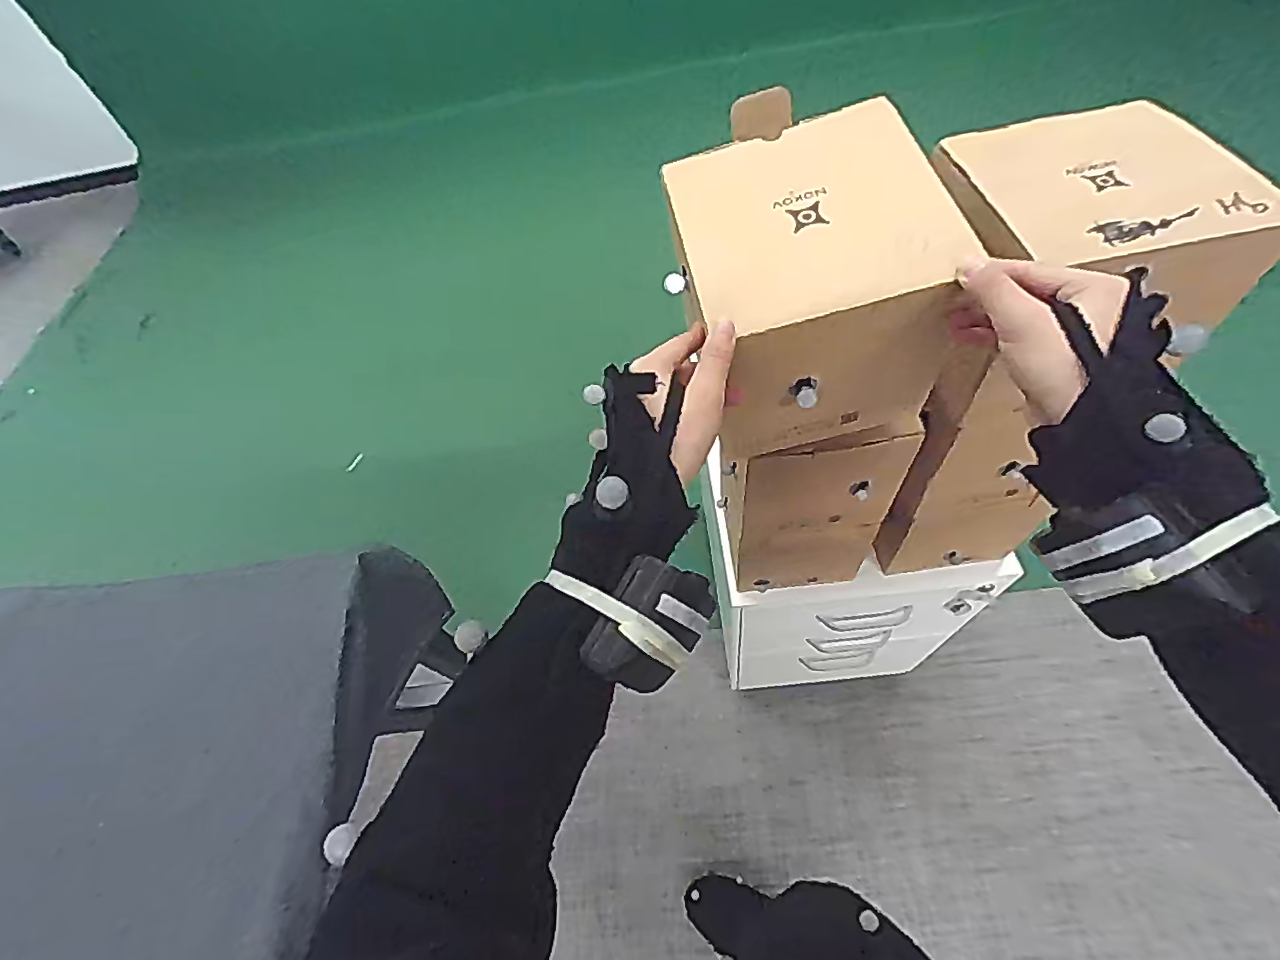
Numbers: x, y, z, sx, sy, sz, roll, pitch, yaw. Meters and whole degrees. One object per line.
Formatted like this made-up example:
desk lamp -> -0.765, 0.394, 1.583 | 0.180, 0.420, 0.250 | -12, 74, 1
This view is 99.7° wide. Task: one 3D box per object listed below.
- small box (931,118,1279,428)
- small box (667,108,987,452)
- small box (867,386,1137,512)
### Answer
small box -> 0.343, -0.169, 0.459 | 0.168, 0.176, 0.179 | -8, 55, 4
small box -> 0.127, -0.137, 0.426 | 0.168, 0.176, 0.179 | -13, 63, 6
small box -> 0.364, -0.078, 0.595 | 0.168, 0.176, 0.179 | -10, 56, 2
